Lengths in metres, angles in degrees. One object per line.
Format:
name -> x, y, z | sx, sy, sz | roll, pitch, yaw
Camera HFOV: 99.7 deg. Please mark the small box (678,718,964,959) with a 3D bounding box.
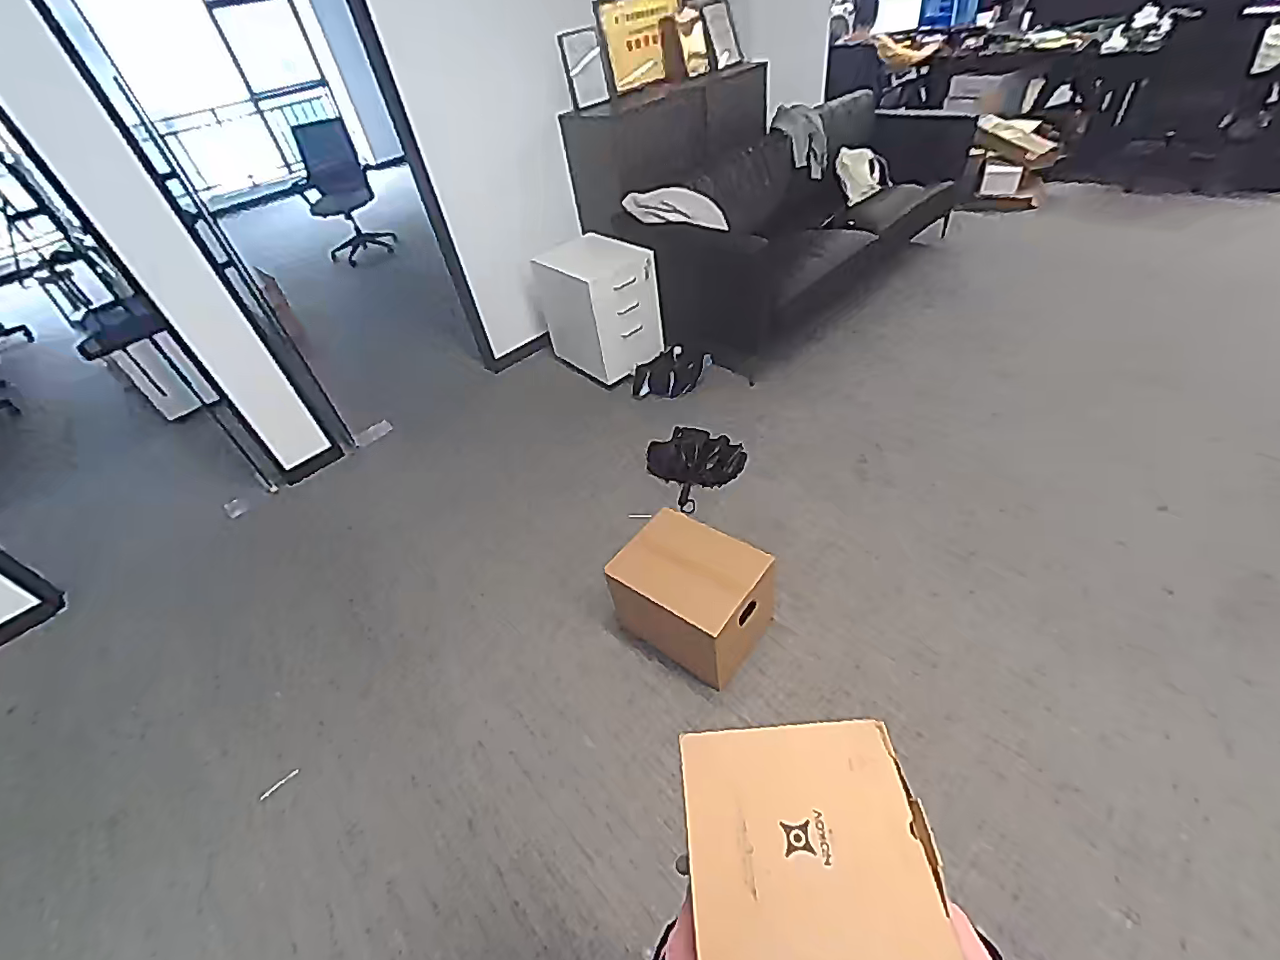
small box -> 0.131, 0.325, 0.462 | 0.179, 0.176, 0.168 | -8, 43, 4
